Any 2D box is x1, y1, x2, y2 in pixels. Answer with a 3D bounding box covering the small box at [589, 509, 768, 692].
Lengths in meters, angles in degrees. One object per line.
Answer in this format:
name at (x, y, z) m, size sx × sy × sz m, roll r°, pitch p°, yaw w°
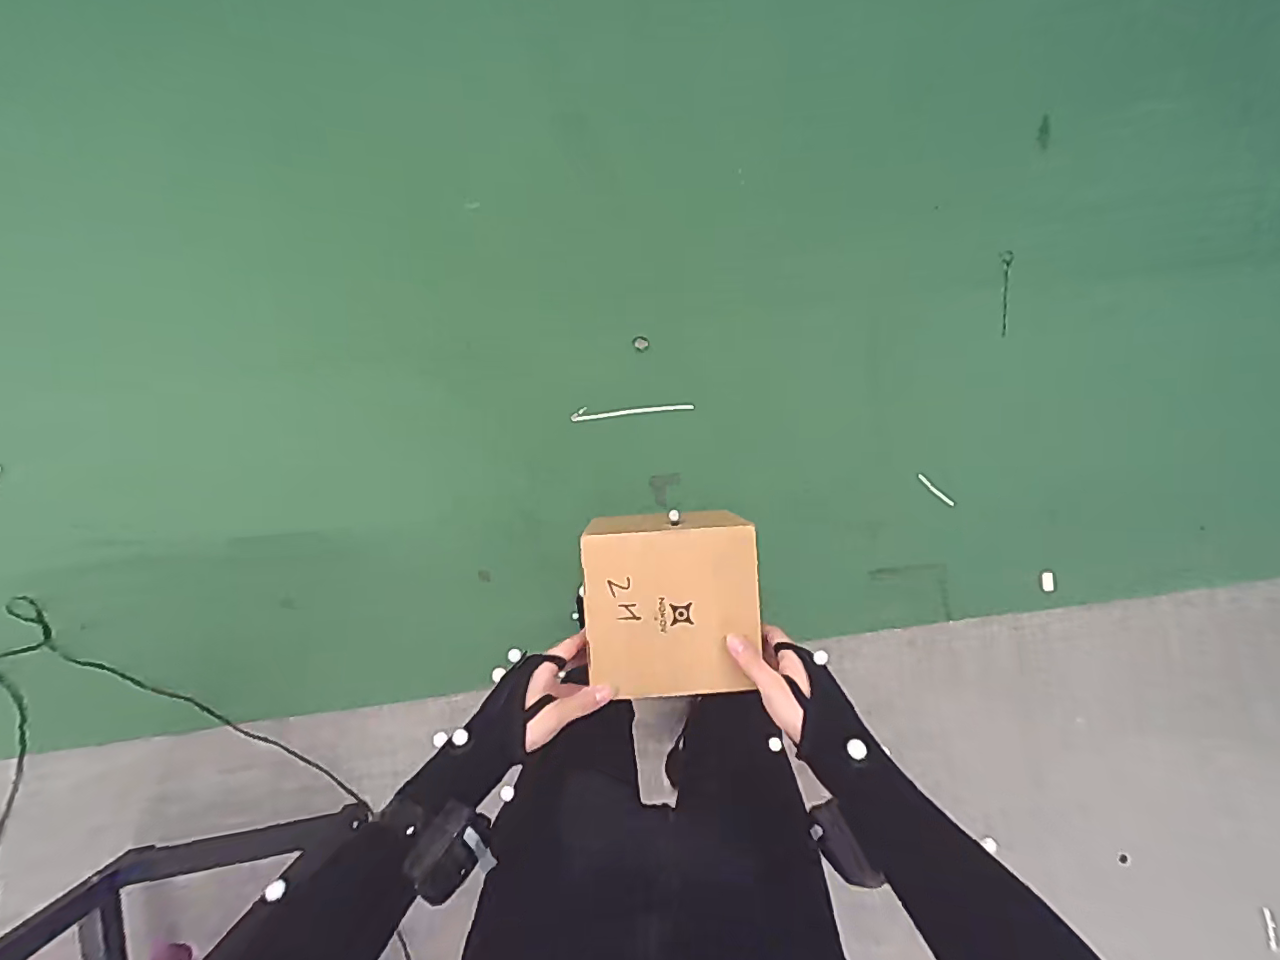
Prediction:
small box at (0.037, 0.124, 0.618) m, size 0.179 × 0.176 × 0.168 m, roll -3°, pitch 92°, yaw 0°
